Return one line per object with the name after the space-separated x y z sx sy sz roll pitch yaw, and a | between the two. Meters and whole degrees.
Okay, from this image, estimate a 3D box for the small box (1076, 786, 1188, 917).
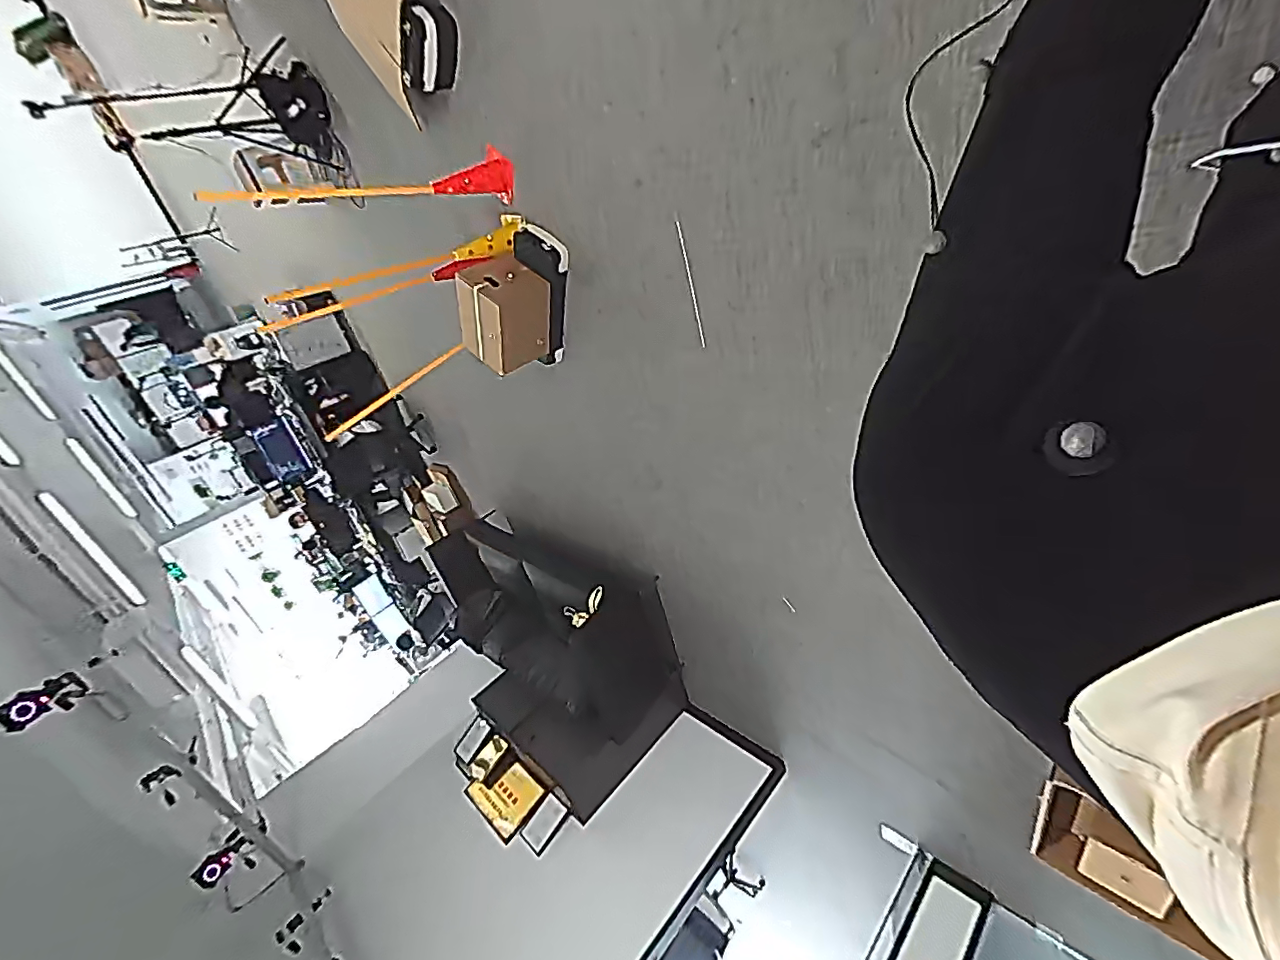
1.237 0.927 1.361 0.168 0.176 0.179 19 133 44 | small box
